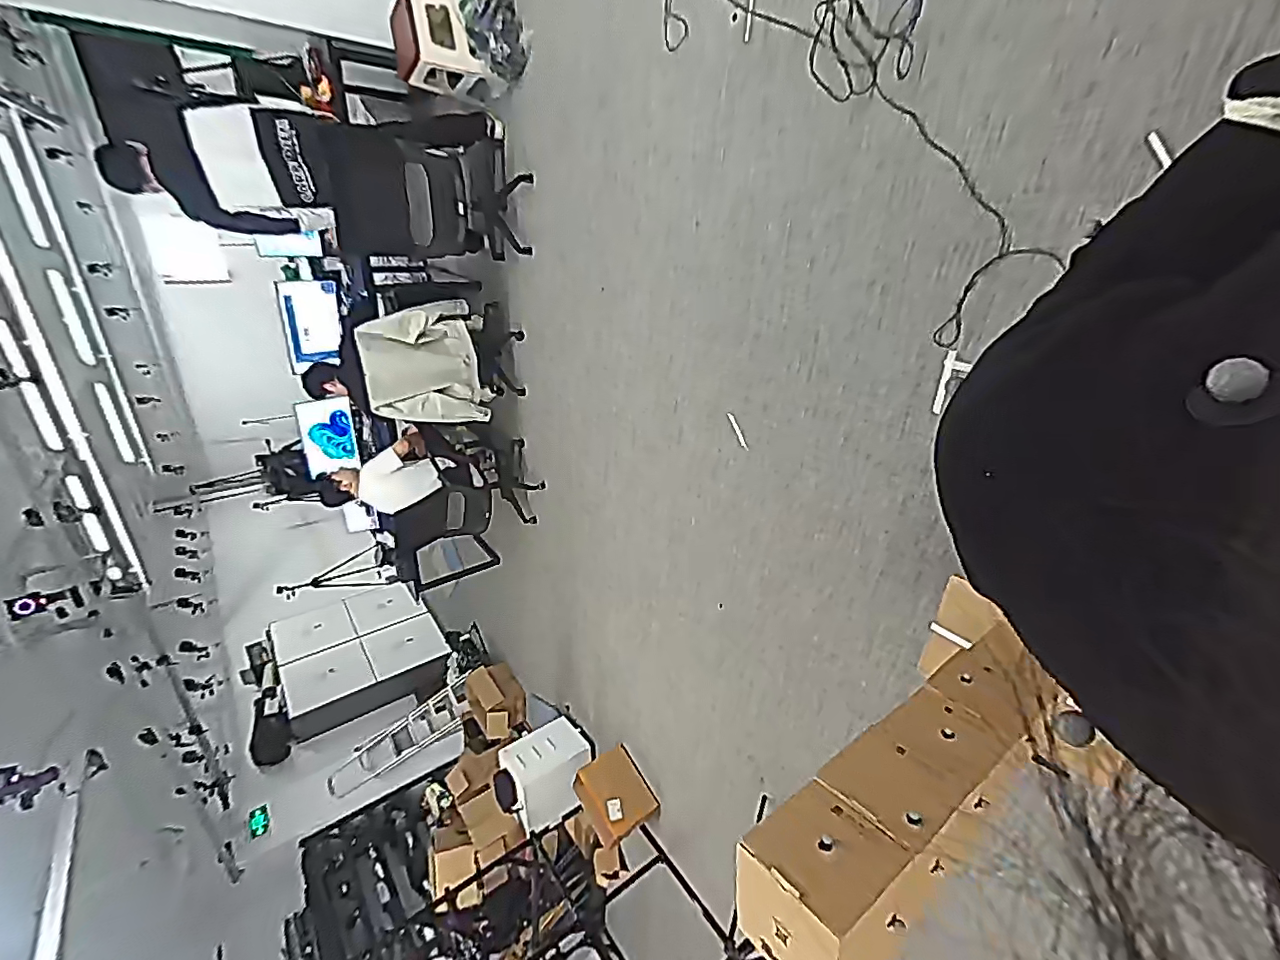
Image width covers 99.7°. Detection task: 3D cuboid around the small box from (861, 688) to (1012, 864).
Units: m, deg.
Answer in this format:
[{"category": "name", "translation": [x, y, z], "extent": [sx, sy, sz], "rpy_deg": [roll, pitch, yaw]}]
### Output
[{"category": "small box", "translation": [0.522, 0.505, 0.952], "extent": [0.168, 0.176, 0.179], "rpy_deg": [25, 123, 50]}]

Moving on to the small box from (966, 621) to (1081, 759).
[{"category": "small box", "translation": [0.781, 0.432, 1.136], "extent": [0.168, 0.176, 0.179], "rpy_deg": [30, 126, 45]}]

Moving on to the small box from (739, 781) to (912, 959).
[{"category": "small box", "translation": [0.260, 0.577, 0.767], "extent": [0.168, 0.176, 0.179], "rpy_deg": [20, 118, 51]}]

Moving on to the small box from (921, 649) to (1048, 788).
[{"category": "small box", "translation": [0.650, 0.462, 1.046], "extent": [0.168, 0.176, 0.179], "rpy_deg": [30, 127, 47]}]
